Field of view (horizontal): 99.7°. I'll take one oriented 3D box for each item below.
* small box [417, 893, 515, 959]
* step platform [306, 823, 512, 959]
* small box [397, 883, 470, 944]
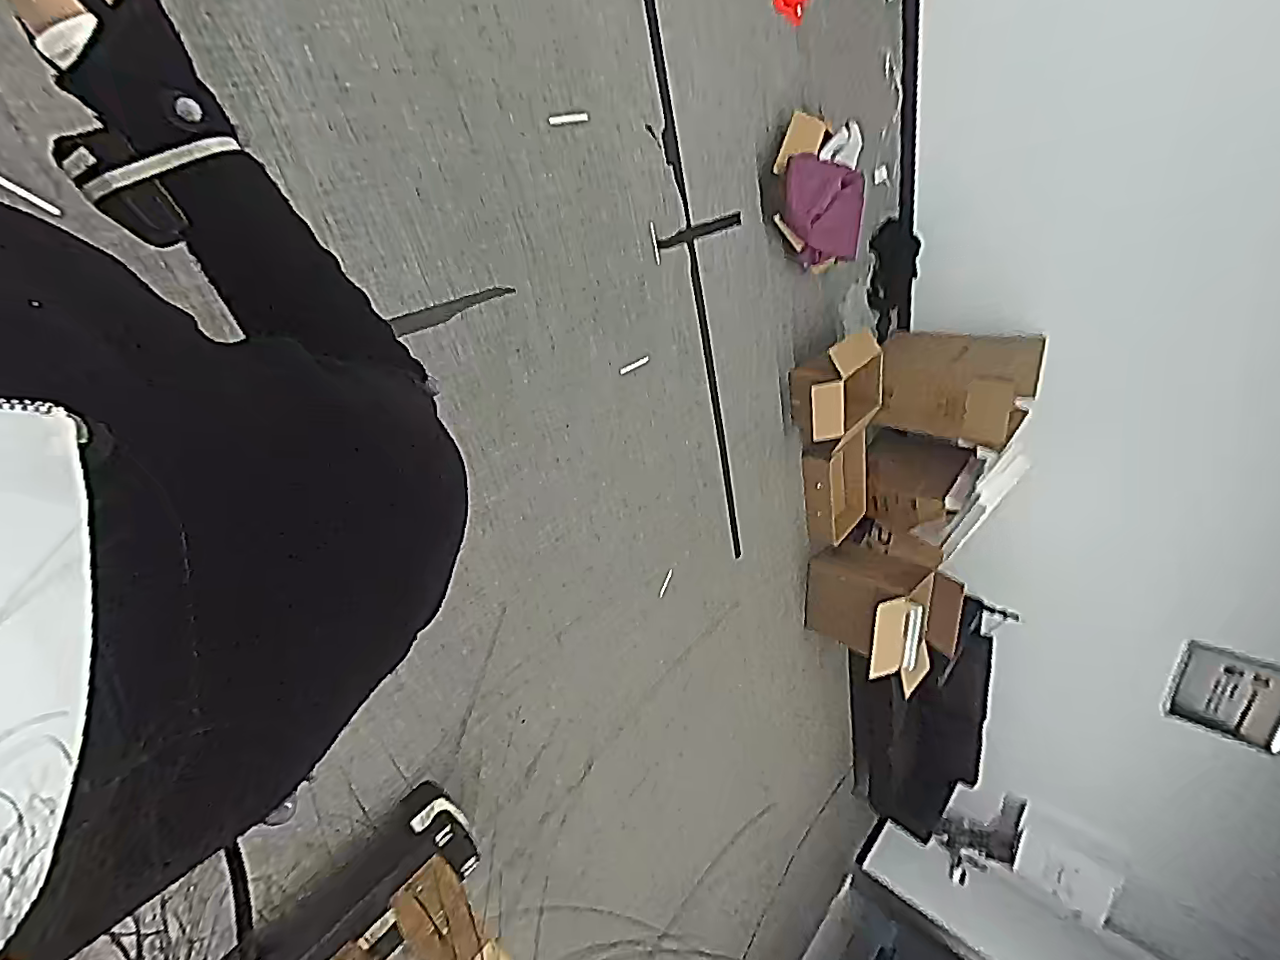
[{"bbox_3d":[-0.483,1.308,1.503,0.168,0.176,0.179,-38,126,-31],"label":"small box"},{"bbox_3d":[-0.699,1.317,1.477,0.684,0.204,0.286,-36,126,-31],"label":"step platform"},{"bbox_3d":[-0.599,1.268,1.612,0.168,0.176,0.179,-36,126,-32],"label":"small box"}]
